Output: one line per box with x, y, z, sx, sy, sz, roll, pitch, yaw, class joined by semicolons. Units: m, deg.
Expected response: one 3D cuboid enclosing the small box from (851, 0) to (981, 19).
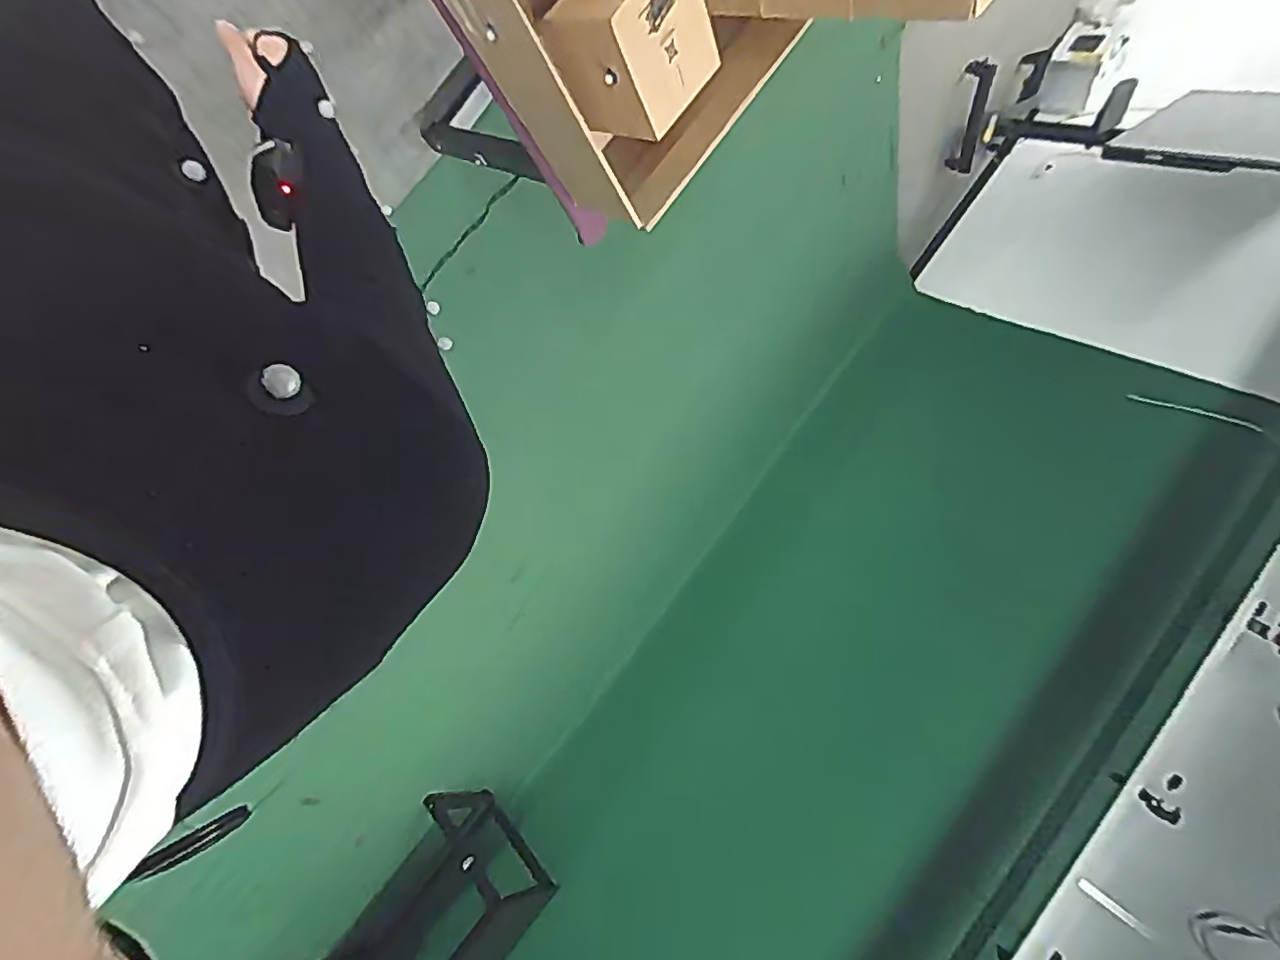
0.374;-0.714;0.663;0.179;0.176;0.168;-51;147;-4;small box

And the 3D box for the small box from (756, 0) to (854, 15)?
0.261;-0.794;0.752;0.179;0.176;0.168;-51;147;-4;small box
